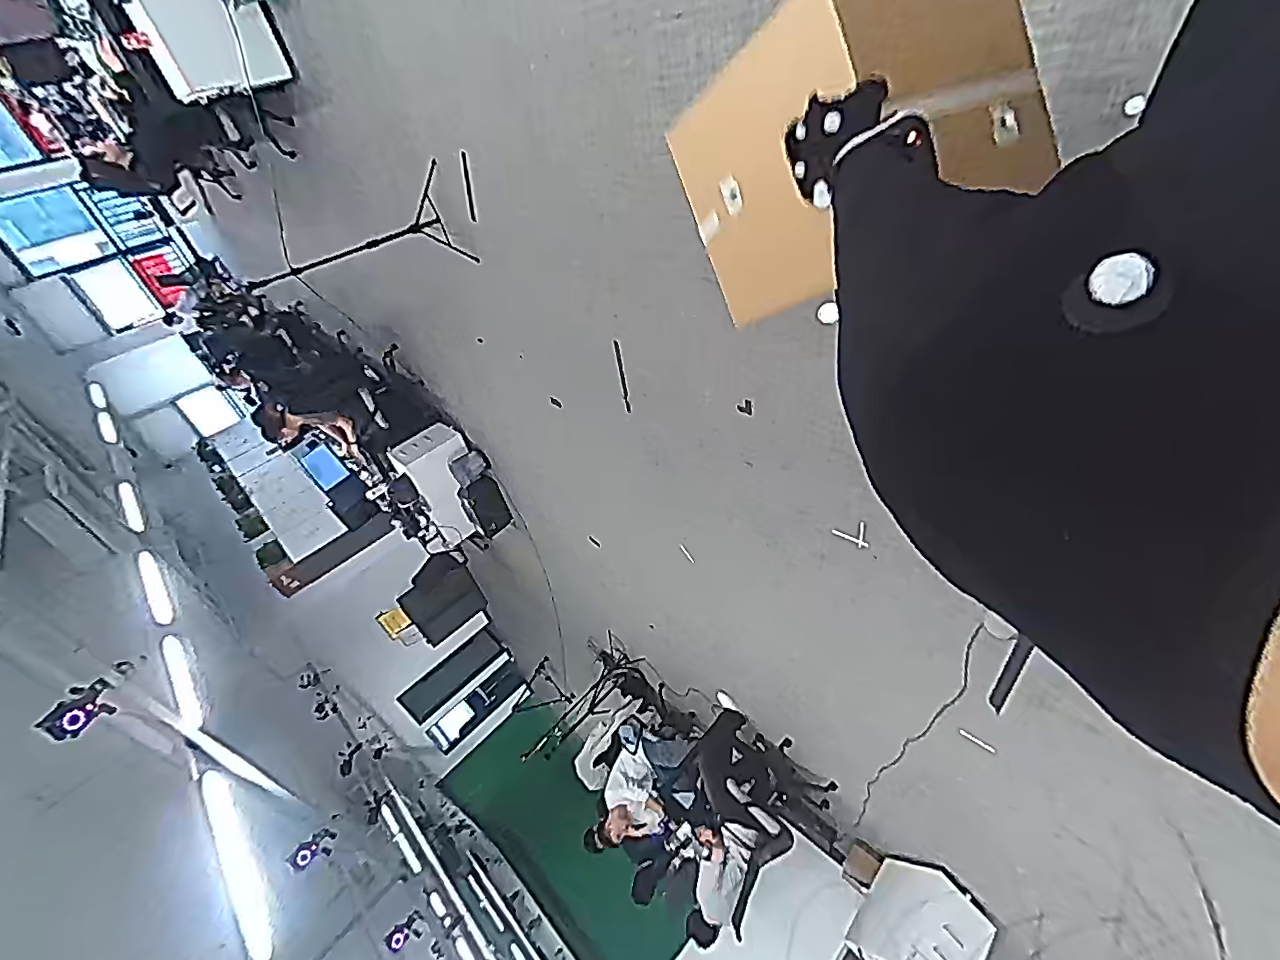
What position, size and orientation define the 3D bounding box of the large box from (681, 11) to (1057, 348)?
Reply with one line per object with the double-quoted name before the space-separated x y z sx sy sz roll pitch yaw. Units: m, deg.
"large box" 0.342 -0.441 0.832 0.320 0.408 0.320 -6 108 61
